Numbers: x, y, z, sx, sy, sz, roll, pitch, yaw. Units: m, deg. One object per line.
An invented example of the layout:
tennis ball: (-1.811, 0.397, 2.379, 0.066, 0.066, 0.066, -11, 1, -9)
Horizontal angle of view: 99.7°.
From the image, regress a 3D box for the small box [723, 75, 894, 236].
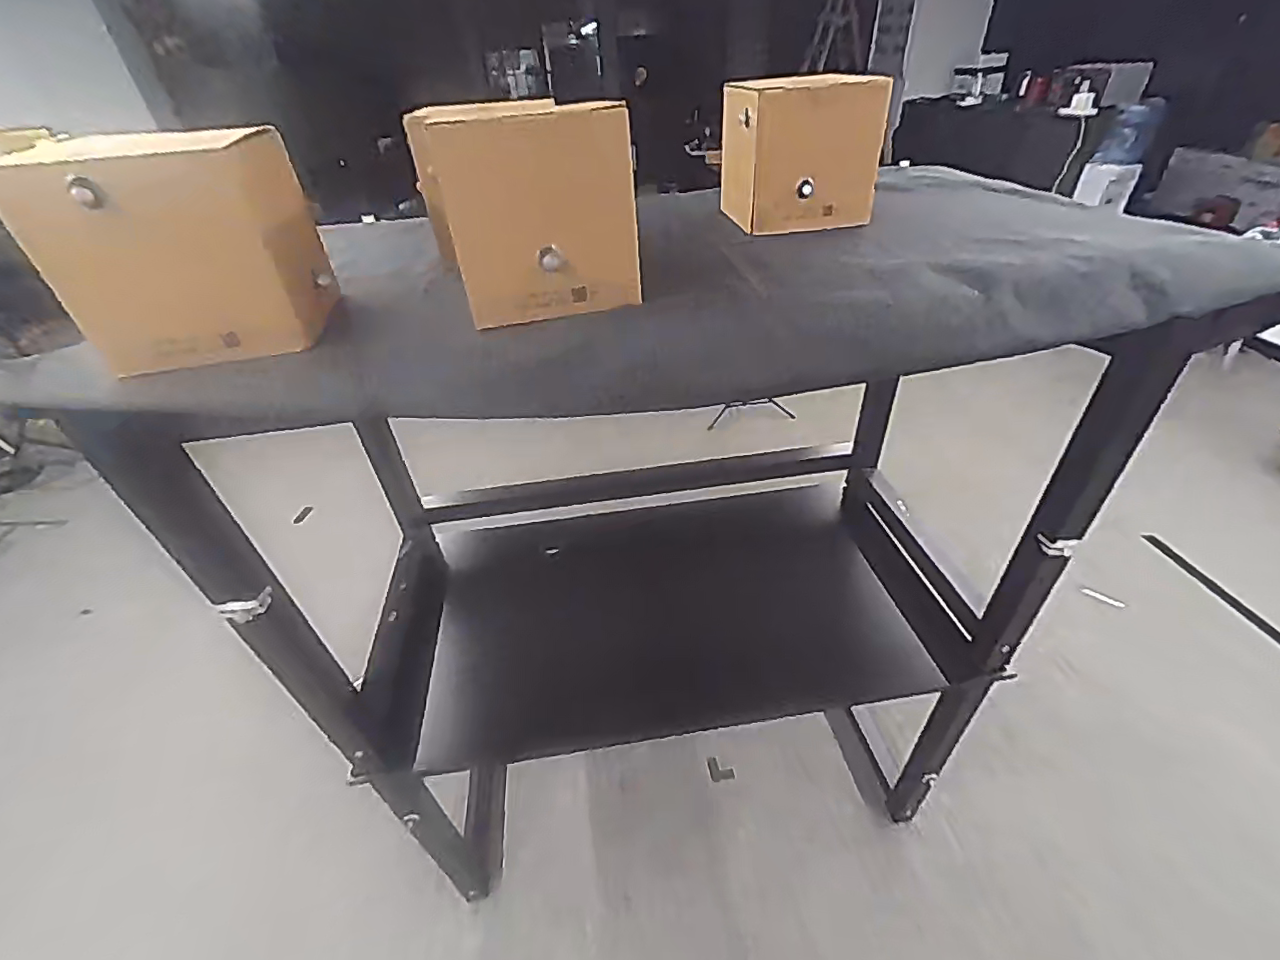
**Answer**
small box: (0.215, -0.450, 0.749, 0.168, 0.176, 0.179, -8, 39, -4)

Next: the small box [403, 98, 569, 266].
small box: (-0.186, -0.390, 0.715, 0.168, 0.176, 0.179, -5, 39, -3)

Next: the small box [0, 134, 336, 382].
small box: (-0.409, -0.210, 0.502, 0.168, 0.176, 0.179, -12, 39, -9)
